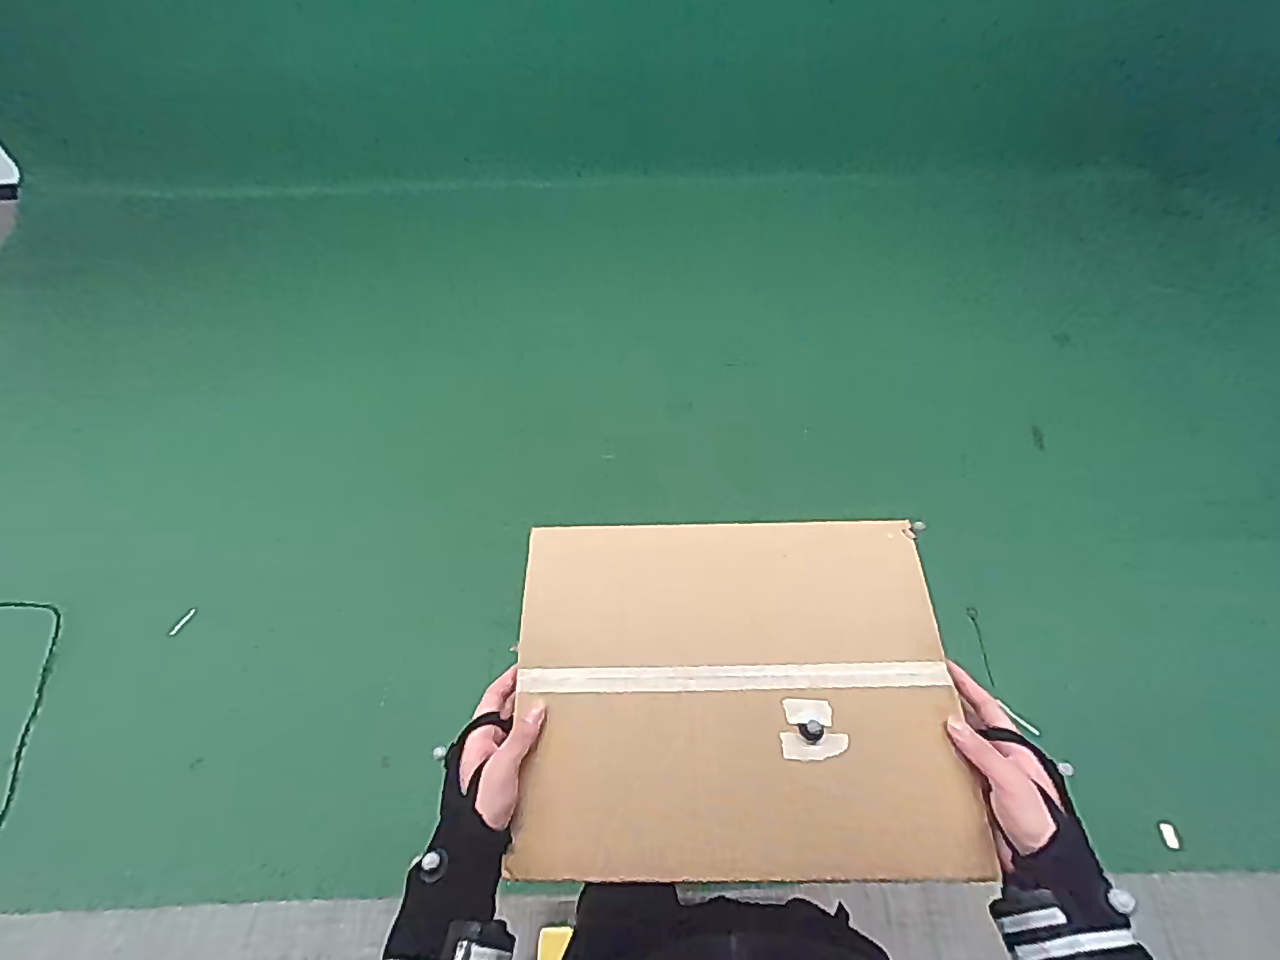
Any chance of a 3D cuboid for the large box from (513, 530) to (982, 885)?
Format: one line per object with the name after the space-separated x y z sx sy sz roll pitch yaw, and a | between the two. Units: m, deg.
0.088 0.267 0.652 0.408 0.320 0.320 -1 62 1 | large box
